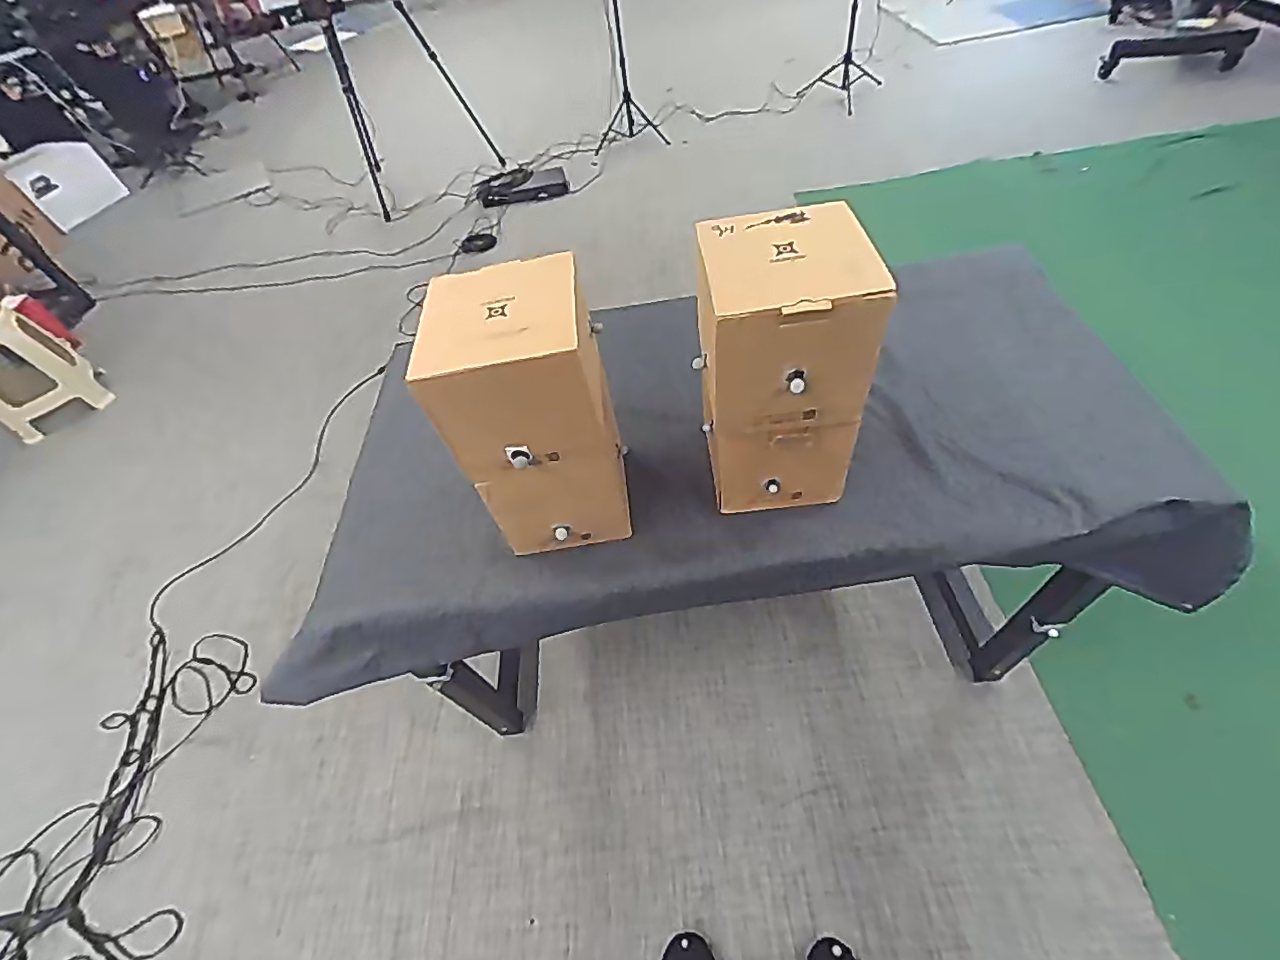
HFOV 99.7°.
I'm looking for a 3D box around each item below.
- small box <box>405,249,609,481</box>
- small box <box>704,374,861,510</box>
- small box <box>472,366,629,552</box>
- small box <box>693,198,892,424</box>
[{"bbox_3d":[-0.133,-0.124,0.604,0.168,0.176,0.179,-10,53,3],"label":"small box"},{"bbox_3d":[0.176,-0.082,0.731,0.168,0.176,0.179,-7,52,4],"label":"small box"},{"bbox_3d":[-0.112,-0.027,0.732,0.168,0.176,0.179,-9,52,2],"label":"small box"},{"bbox_3d":[0.153,-0.176,0.599,0.168,0.176,0.179,-7,53,4],"label":"small box"}]
